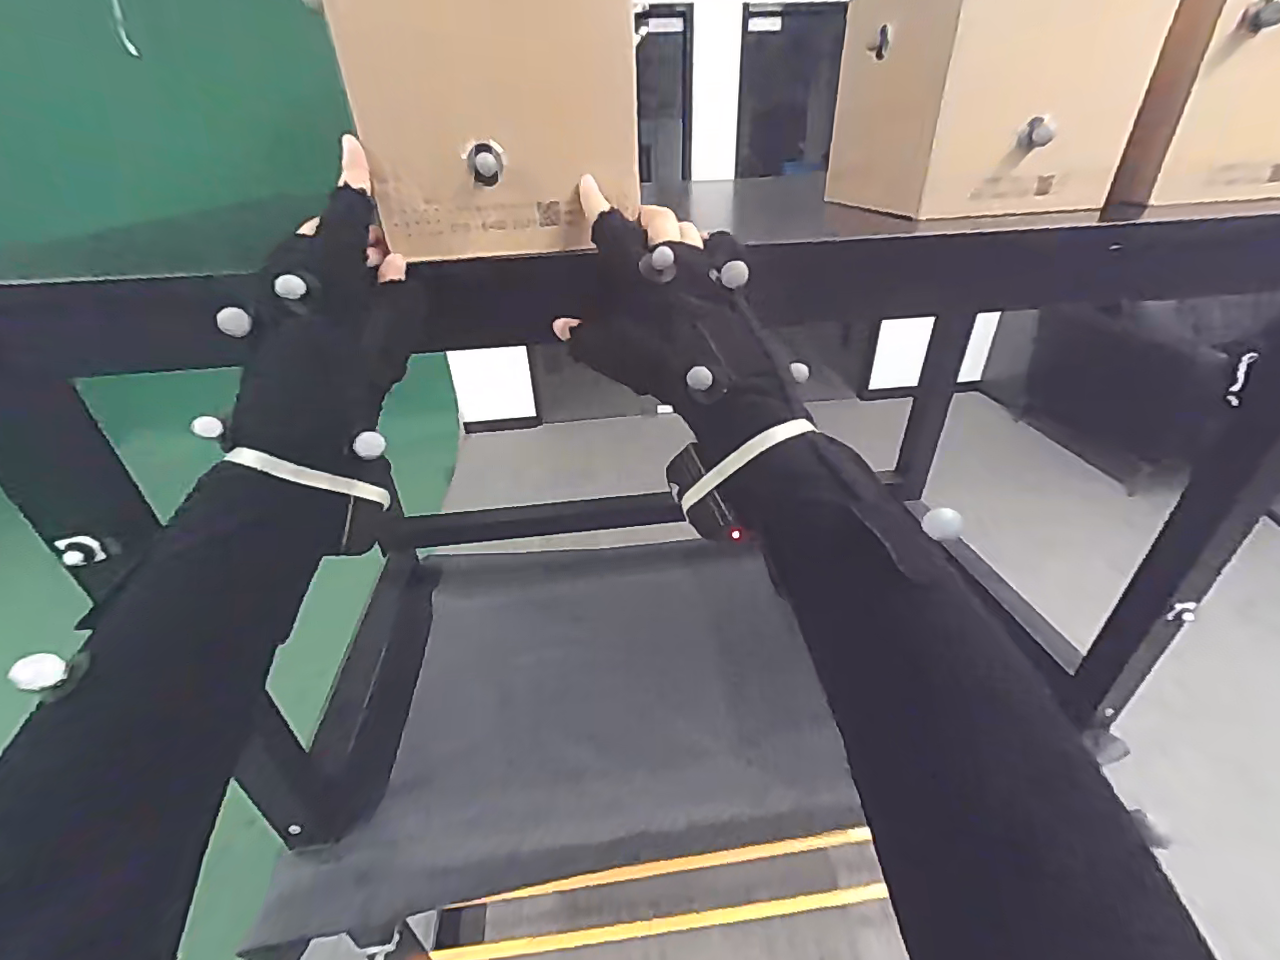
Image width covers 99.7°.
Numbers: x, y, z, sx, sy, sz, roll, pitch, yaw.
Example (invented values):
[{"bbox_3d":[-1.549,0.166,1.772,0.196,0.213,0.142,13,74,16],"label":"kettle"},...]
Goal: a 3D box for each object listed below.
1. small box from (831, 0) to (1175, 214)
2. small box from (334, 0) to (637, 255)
[{"bbox_3d":[0.284,-0.330,0.467,0.168,0.176,0.179,-6,32,-5],"label":"small box"},{"bbox_3d":[-0.102,-0.262,0.386,0.168,0.176,0.179,-10,33,-12],"label":"small box"}]
